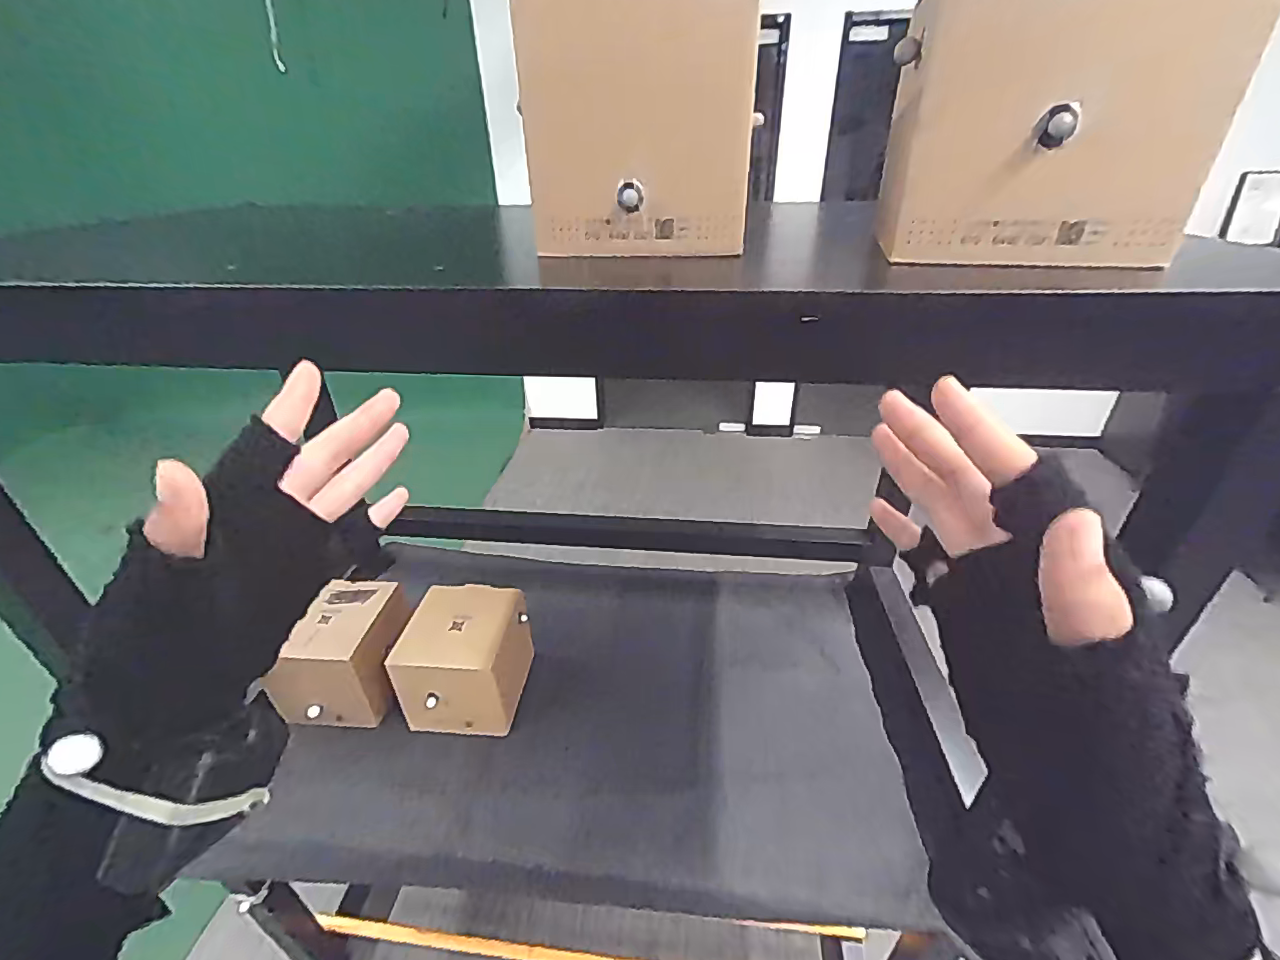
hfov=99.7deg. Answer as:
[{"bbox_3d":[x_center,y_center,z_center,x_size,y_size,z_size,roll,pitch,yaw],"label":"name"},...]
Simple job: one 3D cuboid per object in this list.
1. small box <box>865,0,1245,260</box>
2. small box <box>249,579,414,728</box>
[{"bbox_3d":[0.266,-0.259,0.388,0.168,0.176,0.179,8,32,15],"label":"small box"},{"bbox_3d":[-0.508,0.292,0.927,0.168,0.176,0.179,1,31,4],"label":"small box"}]
